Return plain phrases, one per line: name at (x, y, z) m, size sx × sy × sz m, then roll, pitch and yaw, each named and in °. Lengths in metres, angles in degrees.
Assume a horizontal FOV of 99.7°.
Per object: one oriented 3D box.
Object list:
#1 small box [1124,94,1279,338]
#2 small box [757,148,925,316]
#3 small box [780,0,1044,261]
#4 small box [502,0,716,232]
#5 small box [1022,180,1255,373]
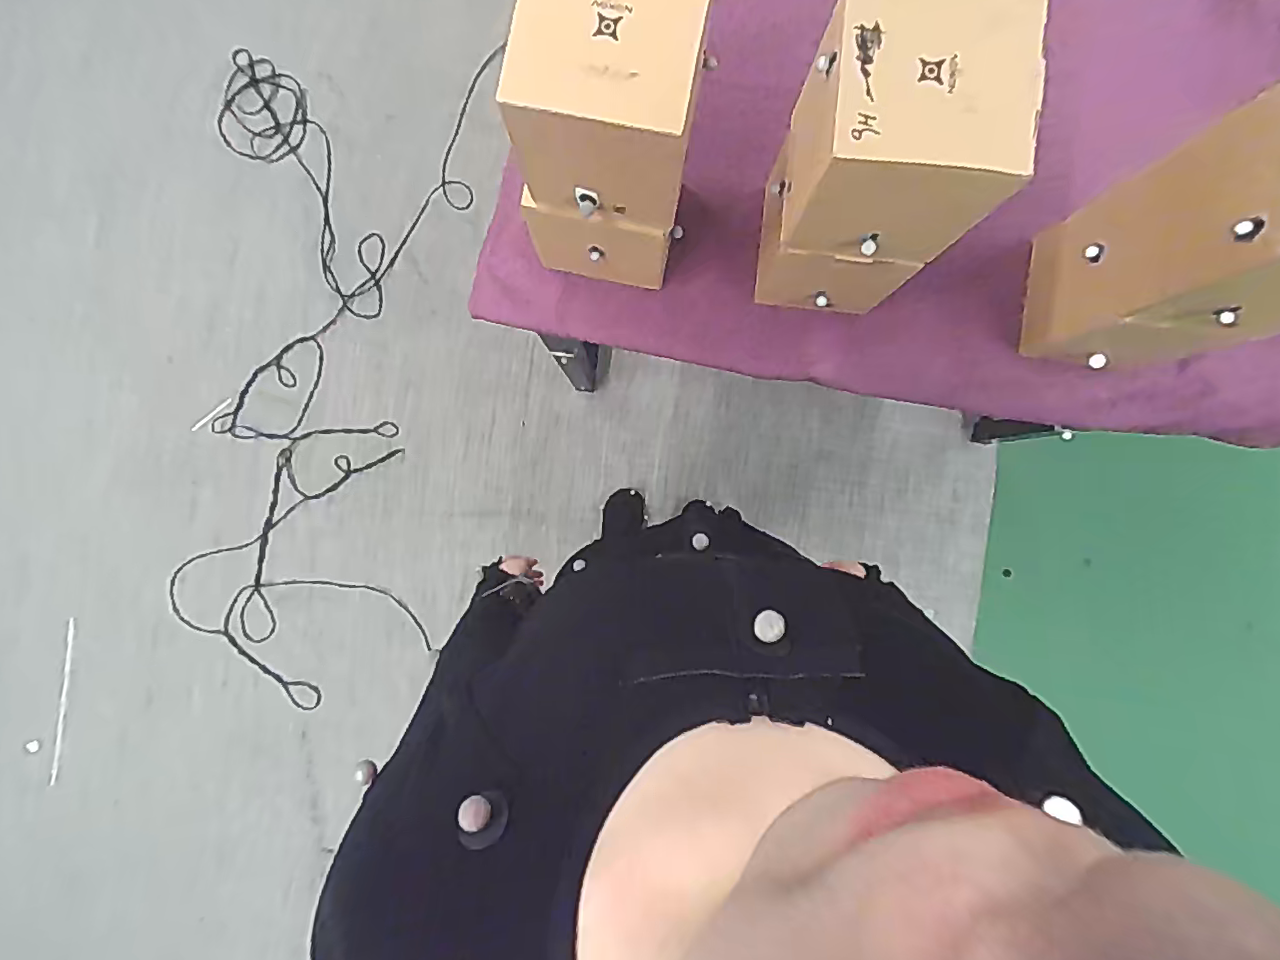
small box at (0.646, -0.262, 0.548) m, size 0.168 × 0.176 × 0.179 m, roll 7°, pitch 89°, yaw 0°
small box at (0.257, -0.336, 0.710) m, size 0.168 × 0.176 × 0.179 m, roll 6°, pitch 88°, yaw 1°
small box at (0.256, -0.340, 0.546) m, size 0.179 × 0.176 × 0.168 m, roll 6°, pitch 87°, yaw -1°
small box at (-0.024, -0.386, 0.547) m, size 0.168 × 0.176 × 0.179 m, roll 10°, pitch 88°, yaw 1°
small box at (0.644, -0.253, 0.710) m, size 0.168 × 0.176 × 0.179 m, roll 8°, pitch 89°, yaw 0°
